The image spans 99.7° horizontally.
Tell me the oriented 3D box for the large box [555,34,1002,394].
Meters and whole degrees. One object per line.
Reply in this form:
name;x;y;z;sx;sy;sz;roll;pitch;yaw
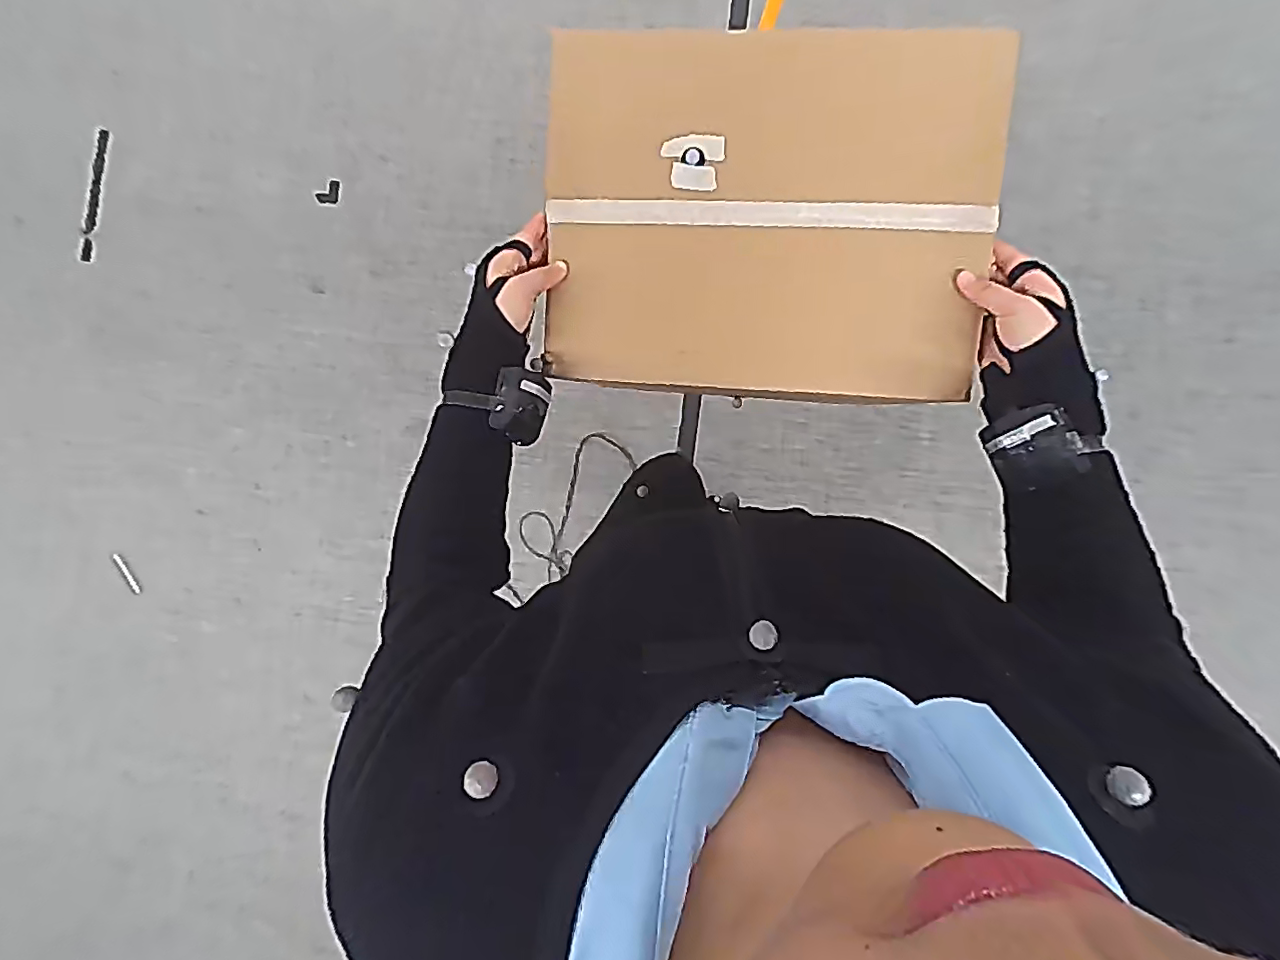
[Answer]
large box;0.135;-0.265;0.658;0.408;0.320;0.320;4;97;7
